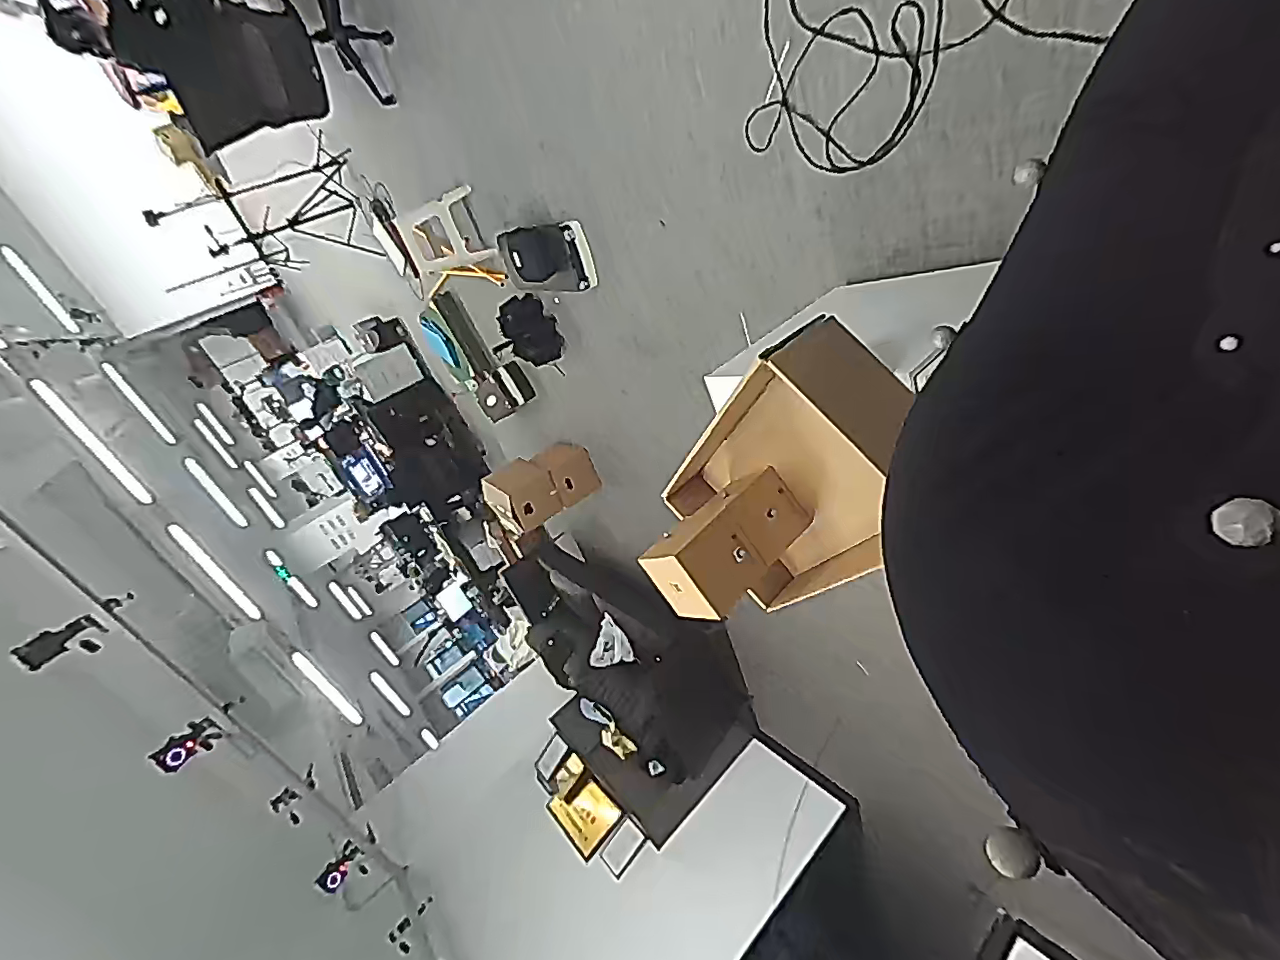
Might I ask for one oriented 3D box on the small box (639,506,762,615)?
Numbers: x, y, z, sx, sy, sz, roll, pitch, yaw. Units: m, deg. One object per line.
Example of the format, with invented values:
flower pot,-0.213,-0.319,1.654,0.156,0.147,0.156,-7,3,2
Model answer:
small box,0.134,0.176,1.189,0.168,0.176,0.179,54,153,-6
